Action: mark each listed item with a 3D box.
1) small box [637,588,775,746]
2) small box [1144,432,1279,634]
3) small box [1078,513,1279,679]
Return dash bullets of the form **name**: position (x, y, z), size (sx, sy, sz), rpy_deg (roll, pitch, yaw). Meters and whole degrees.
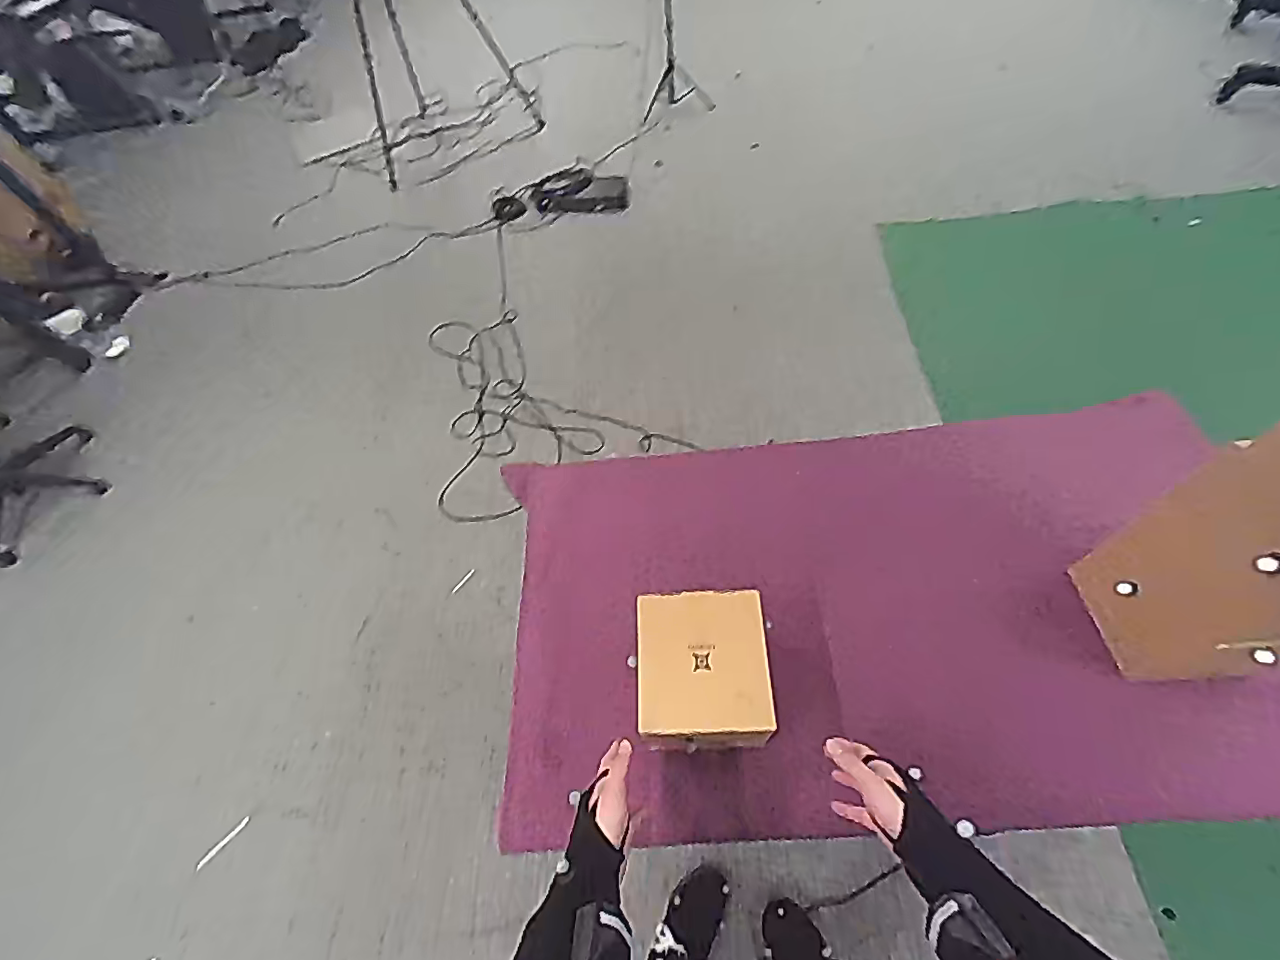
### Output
- **small box**: position (0.089, 0.266, 0.749), size (0.168, 0.176, 0.179), rpy_deg (-5, 57, 5)
- **small box**: position (0.729, 0.061, 0.591), size (0.168, 0.176, 0.179), rpy_deg (-5, 56, 5)
- **small box**: position (0.749, 0.152, 0.727), size (0.168, 0.176, 0.179), rpy_deg (-7, 56, 5)
